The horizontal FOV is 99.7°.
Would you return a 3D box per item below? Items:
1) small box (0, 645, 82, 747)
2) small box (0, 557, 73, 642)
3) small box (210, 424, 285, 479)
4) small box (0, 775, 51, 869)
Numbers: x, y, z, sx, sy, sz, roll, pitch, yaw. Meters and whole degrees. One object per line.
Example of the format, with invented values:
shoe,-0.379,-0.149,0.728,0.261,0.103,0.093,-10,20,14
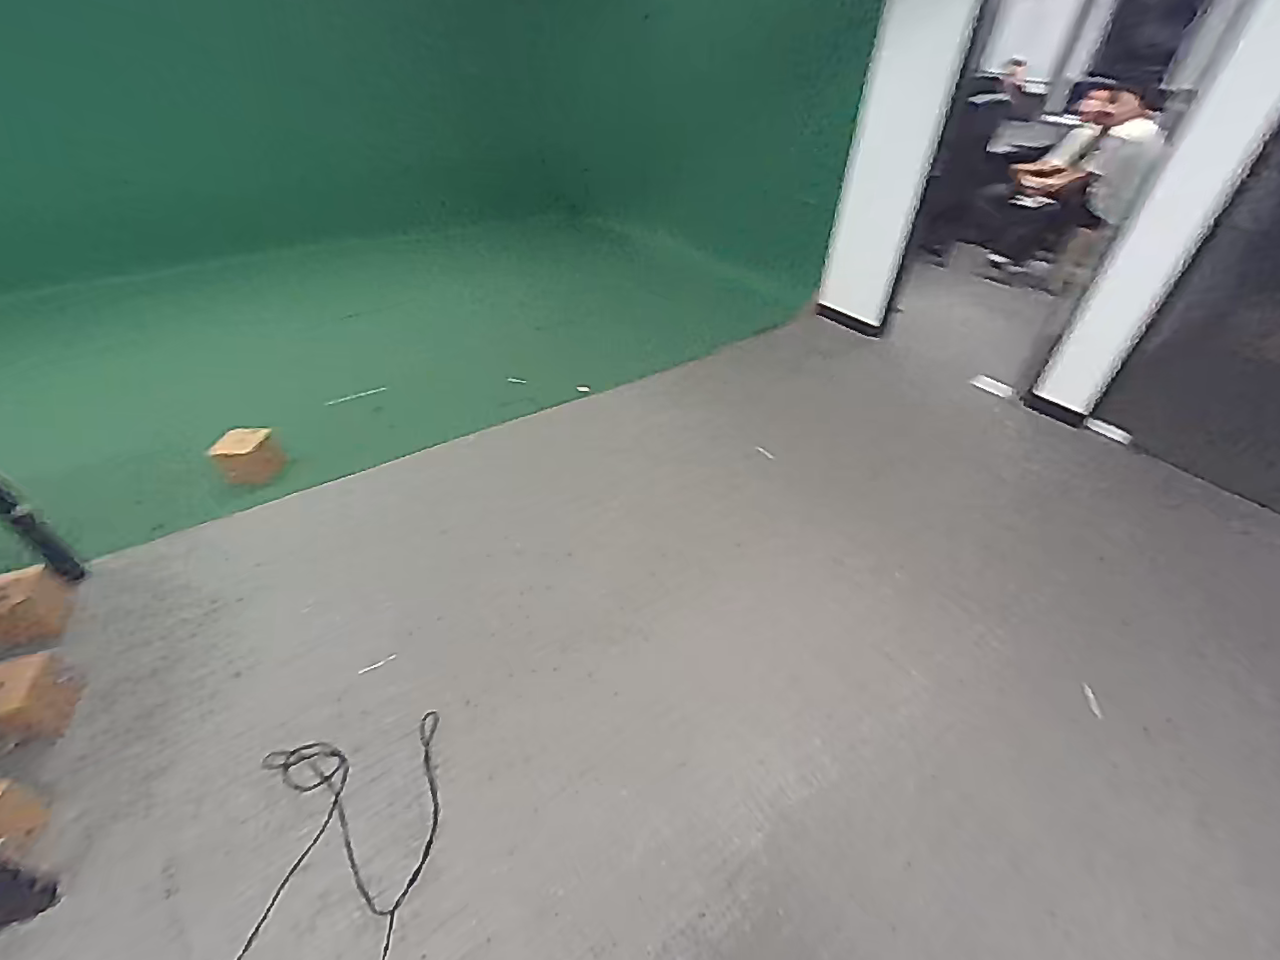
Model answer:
small box,-1.674,0.584,1.456,0.168,0.176,0.179,-13,44,-16
small box,-1.936,0.379,1.684,0.168,0.176,0.179,-18,43,-23
small box,-1.645,-0.117,2.282,0.168,0.176,0.179,1,41,-1
small box,-1.530,0.787,1.225,0.179,0.176,0.168,0,41,-2
